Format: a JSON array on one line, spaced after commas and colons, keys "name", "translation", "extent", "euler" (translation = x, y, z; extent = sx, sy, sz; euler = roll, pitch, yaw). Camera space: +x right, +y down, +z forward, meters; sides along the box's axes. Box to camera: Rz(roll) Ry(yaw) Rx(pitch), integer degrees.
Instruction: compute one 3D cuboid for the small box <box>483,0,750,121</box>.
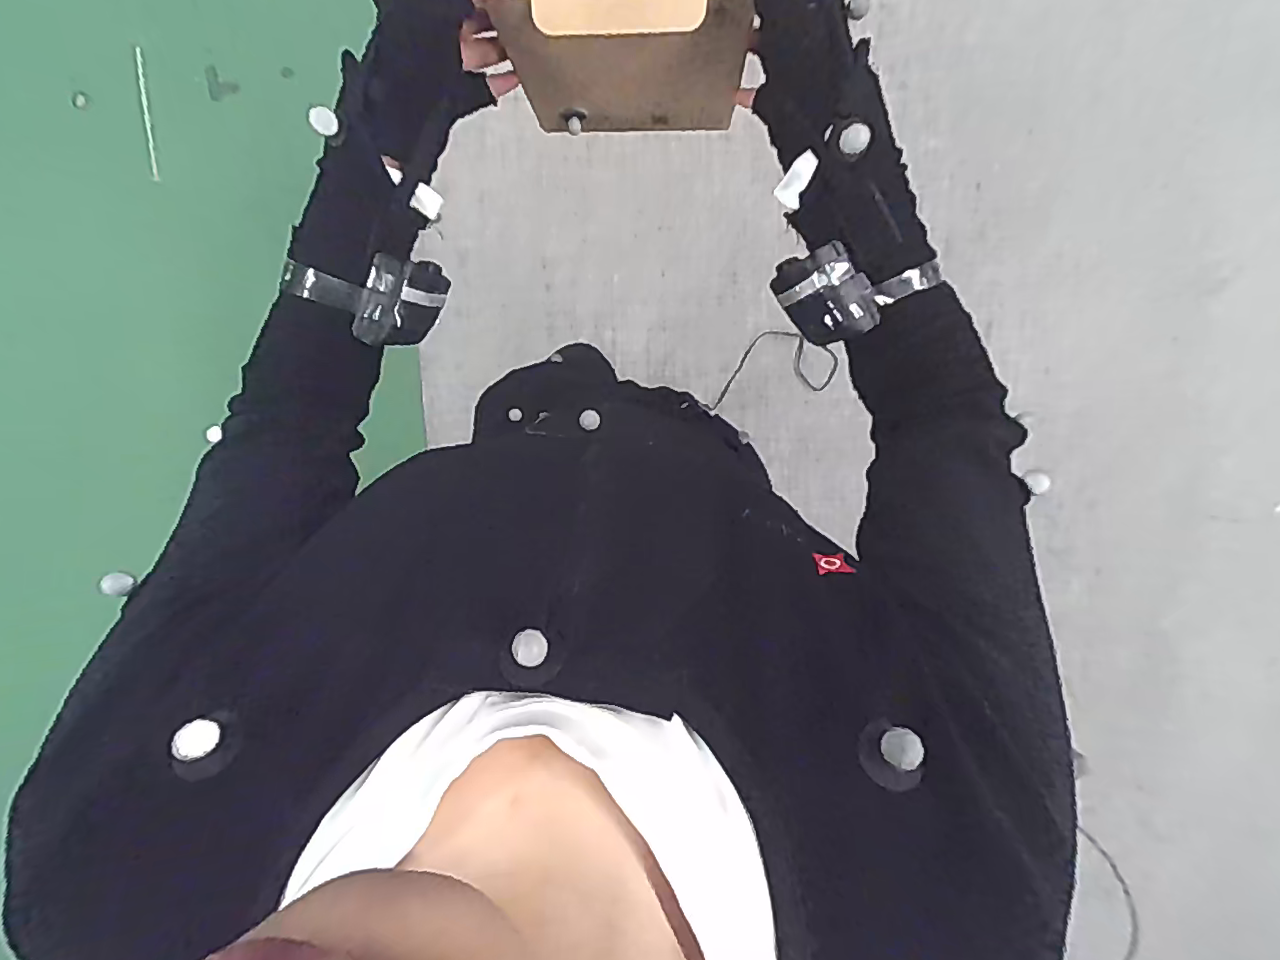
[{"name": "small box", "translation": [-0.007, -0.379, 0.376], "extent": [0.168, 0.176, 0.179], "euler": [1, 98, 3]}]
